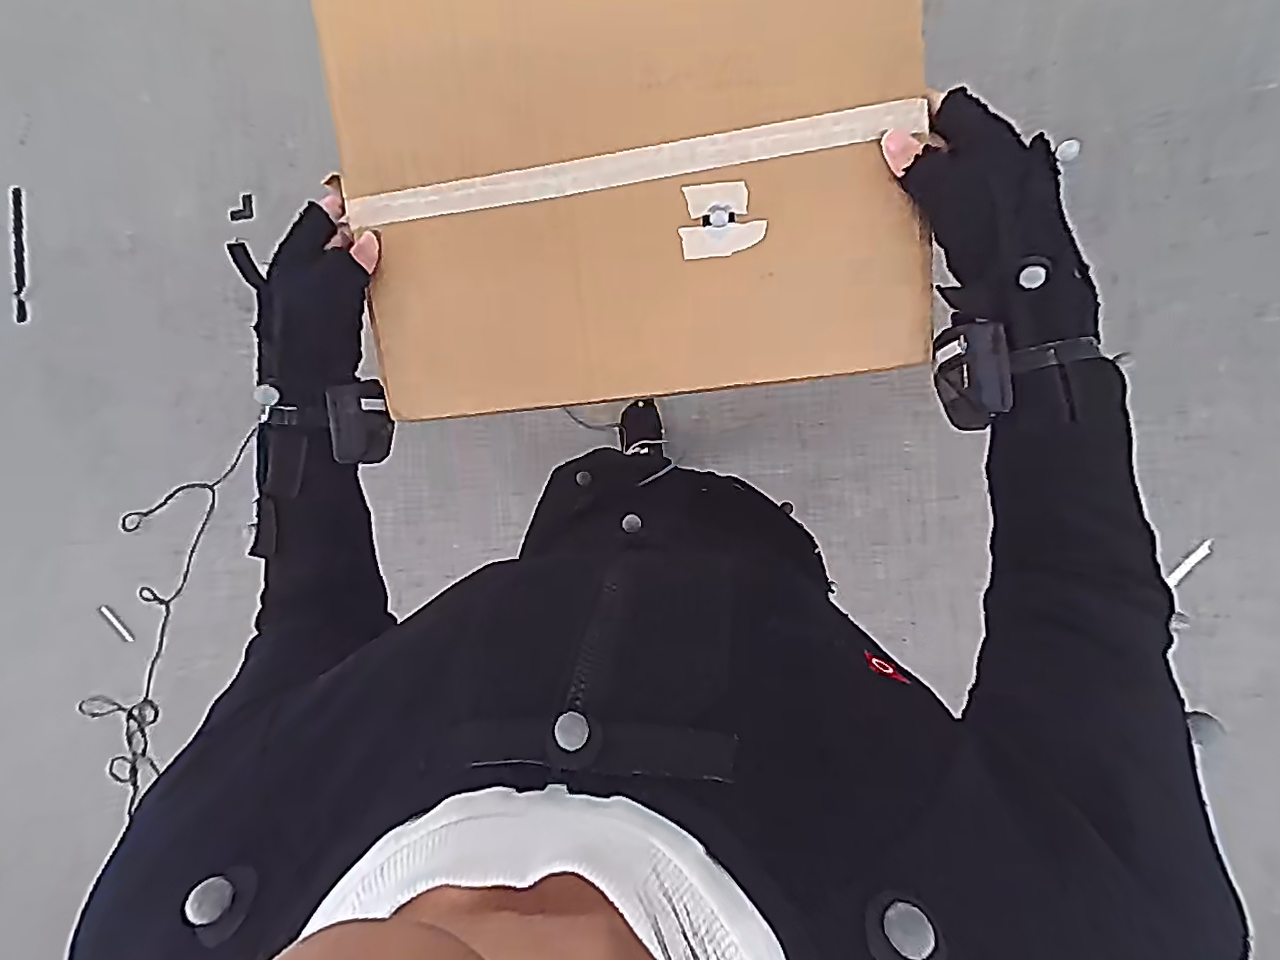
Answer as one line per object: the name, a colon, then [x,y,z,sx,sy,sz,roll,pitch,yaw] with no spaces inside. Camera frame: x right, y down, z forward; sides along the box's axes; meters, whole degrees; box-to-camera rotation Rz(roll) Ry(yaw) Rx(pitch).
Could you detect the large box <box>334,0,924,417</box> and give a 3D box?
large box: [0.004,-0.247,0.535,0.408,0.320,0.320,-6,100,7]
